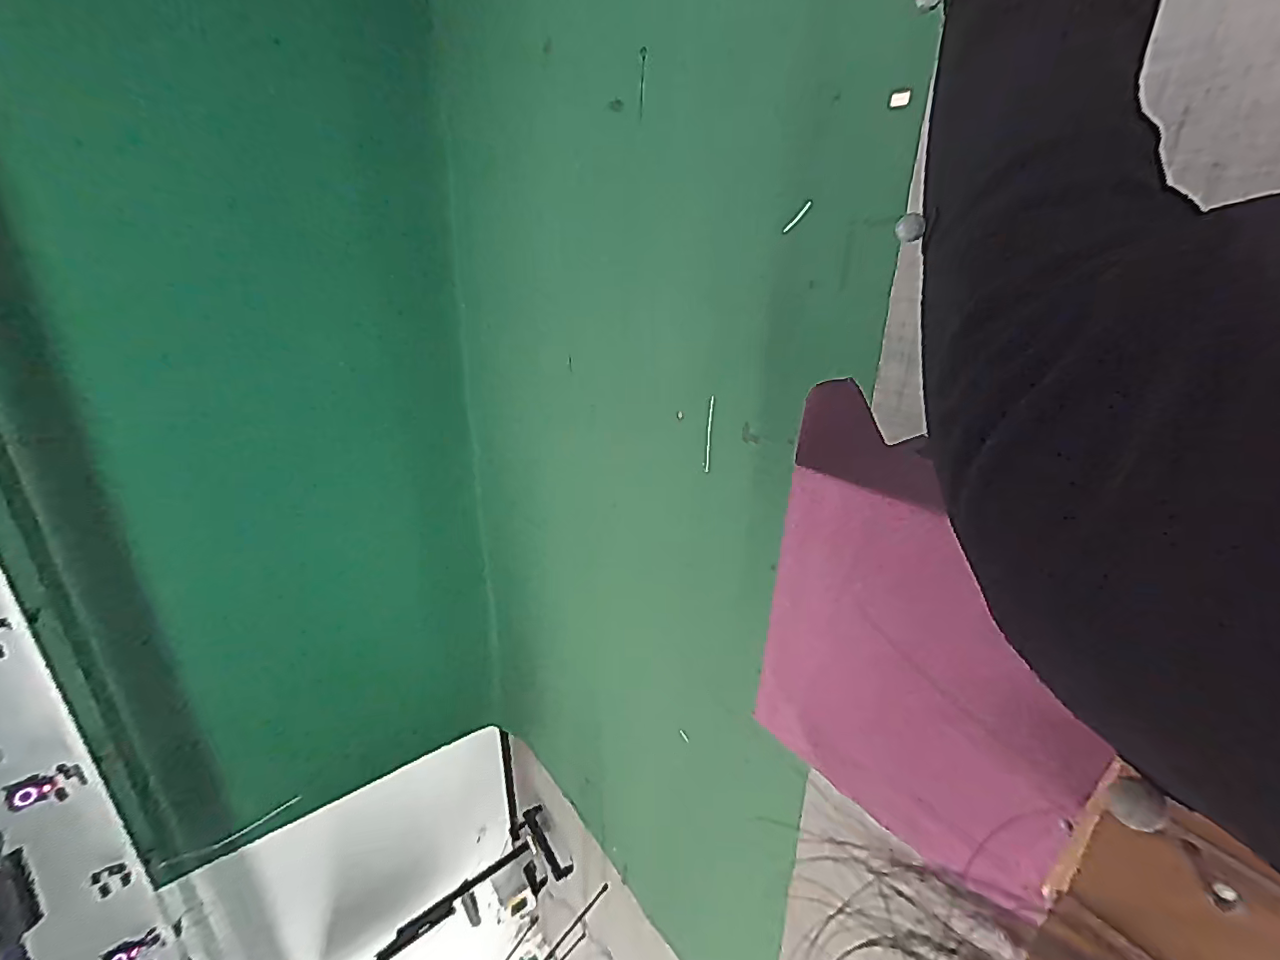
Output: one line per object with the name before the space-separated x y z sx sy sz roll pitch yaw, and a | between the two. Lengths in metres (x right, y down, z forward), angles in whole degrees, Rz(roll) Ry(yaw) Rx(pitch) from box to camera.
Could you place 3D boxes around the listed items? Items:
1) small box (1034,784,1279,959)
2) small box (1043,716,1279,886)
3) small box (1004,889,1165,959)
small box | 0.456 0.419 0.470 0.168 0.176 0.179 29 124 44
small box | 0.580 0.397 0.575 0.168 0.176 0.179 31 125 43
small box | 0.326 0.444 0.372 0.168 0.176 0.179 30 126 44
